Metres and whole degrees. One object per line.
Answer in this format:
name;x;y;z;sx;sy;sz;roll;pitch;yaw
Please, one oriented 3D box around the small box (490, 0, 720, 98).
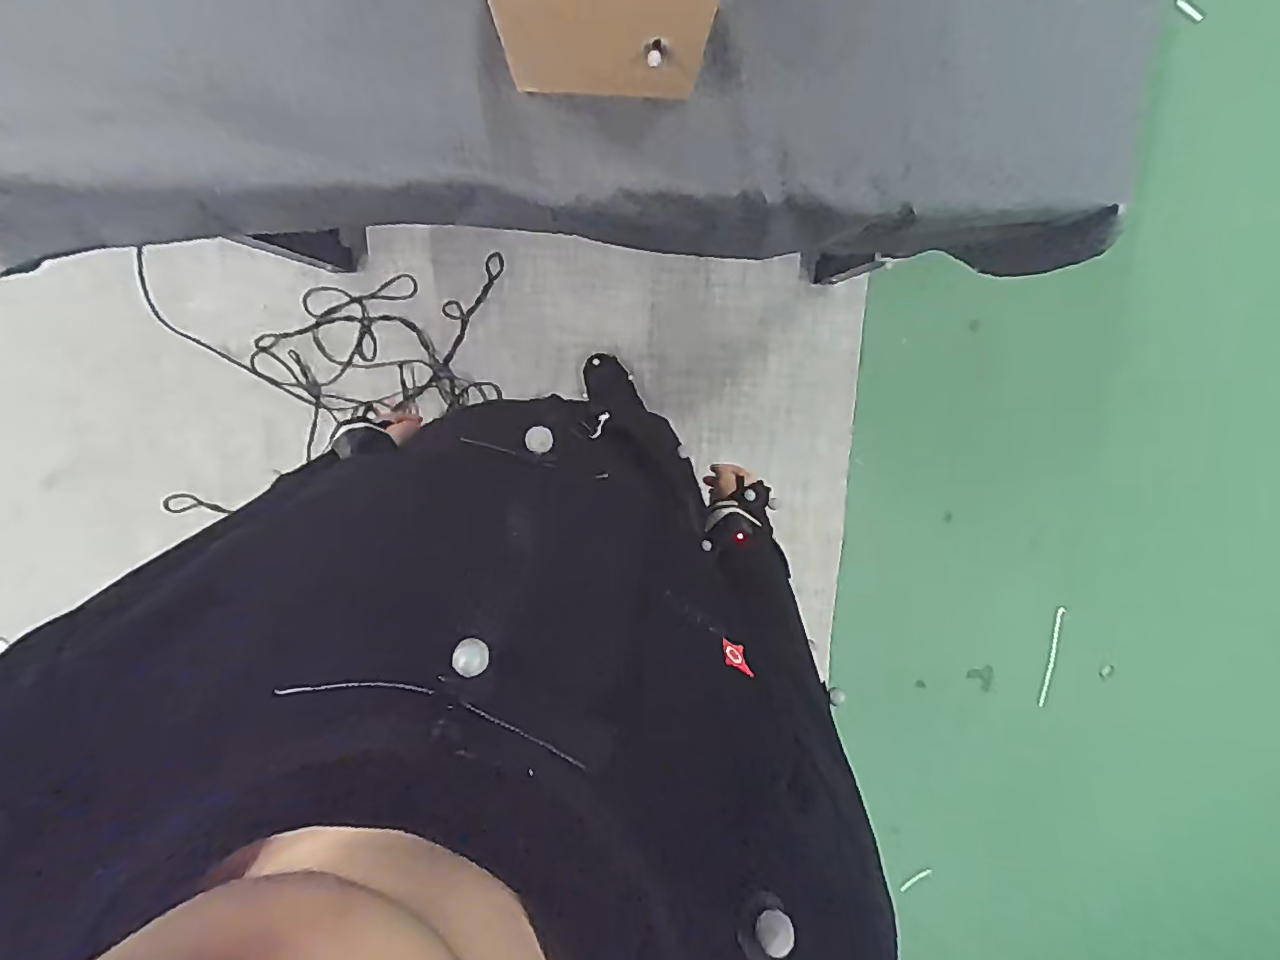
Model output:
small box;-0.028;-0.449;0.448;0.179;0.176;0.168;0;101;-2
